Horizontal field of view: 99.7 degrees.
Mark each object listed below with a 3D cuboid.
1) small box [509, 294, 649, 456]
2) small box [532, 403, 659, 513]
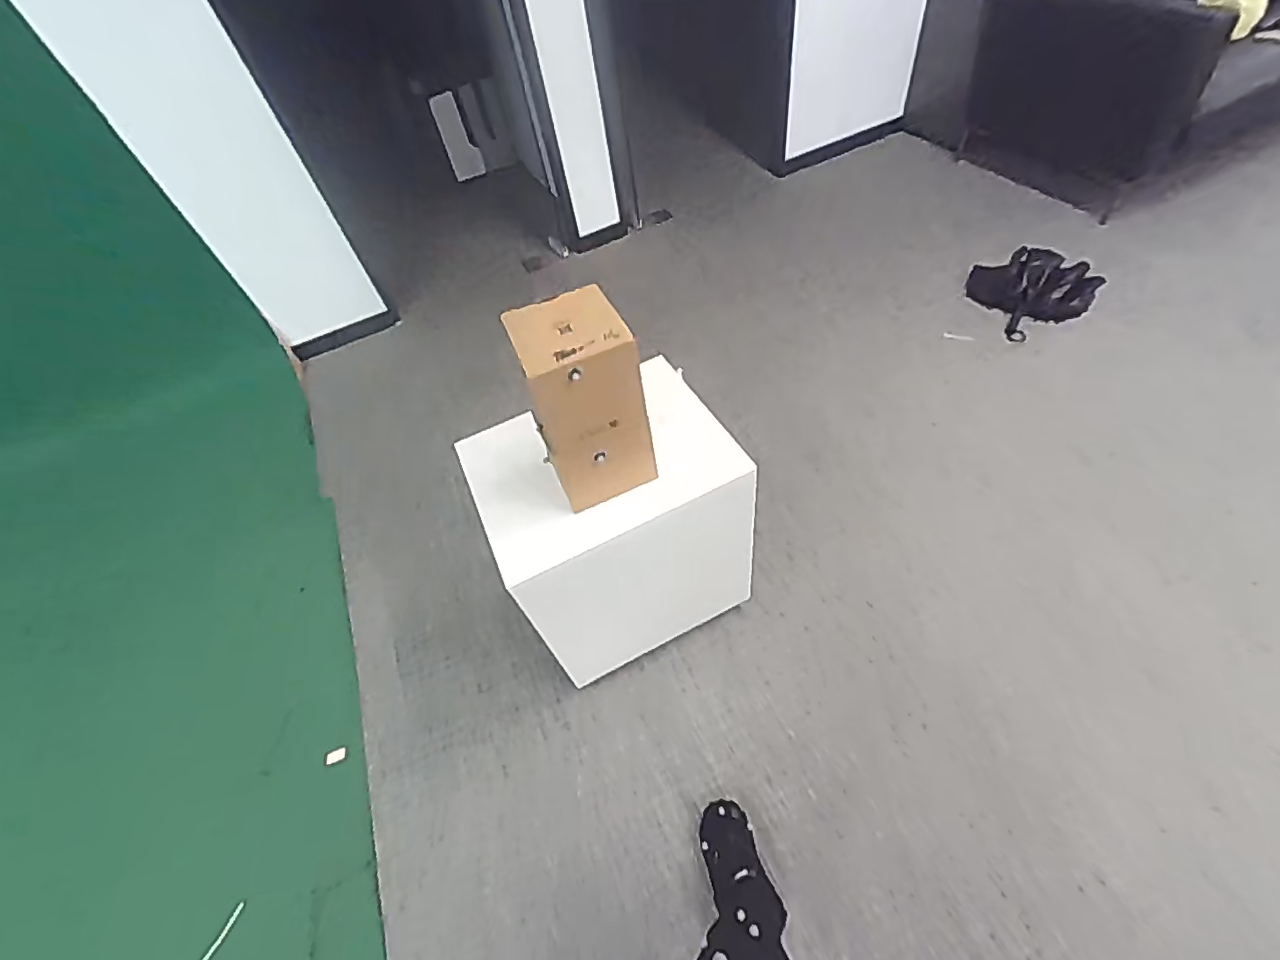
[{"bbox_3d":[-0.096,-0.172,0.894,0.168,0.176,0.179,-23,52,-11],"label":"small box"},{"bbox_3d":[-0.079,-0.067,1.015,0.179,0.176,0.168,-23,51,-9],"label":"small box"}]
